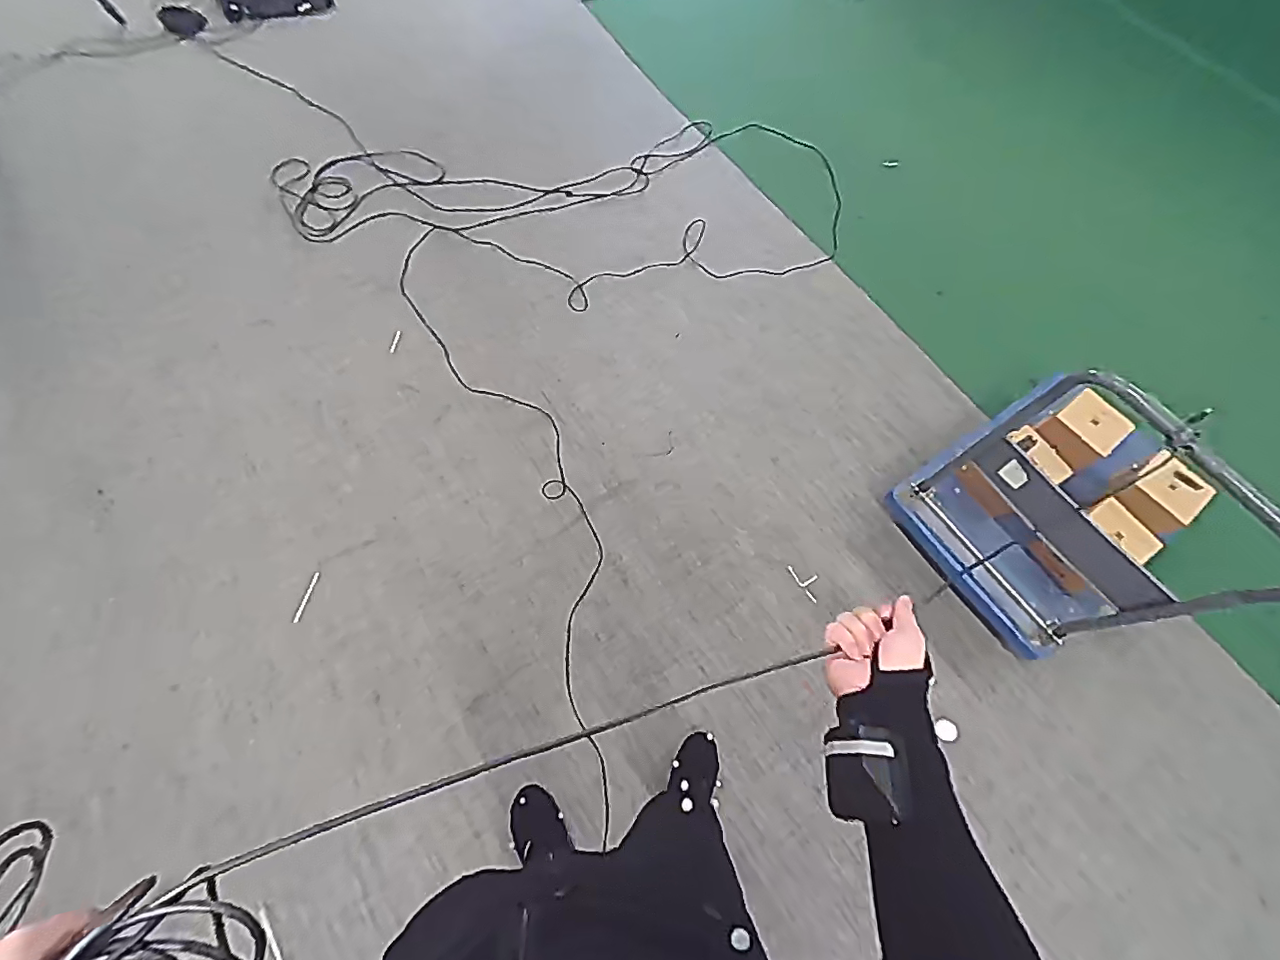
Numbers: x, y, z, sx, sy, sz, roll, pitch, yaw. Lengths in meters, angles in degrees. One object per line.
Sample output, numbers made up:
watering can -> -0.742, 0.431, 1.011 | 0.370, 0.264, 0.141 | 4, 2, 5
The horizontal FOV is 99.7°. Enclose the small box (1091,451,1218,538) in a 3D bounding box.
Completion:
small box -> 1.446, 0.054, 1.534 | 0.179, 0.176, 0.168 | -34, 71, -18

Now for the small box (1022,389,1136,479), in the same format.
small box -> 1.292, -0.130, 1.609 | 0.179, 0.176, 0.168 | -33, 72, -18

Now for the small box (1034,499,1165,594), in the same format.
small box -> 1.223, 0.183, 1.455 | 0.179, 0.176, 0.168 | -29, 70, -16
